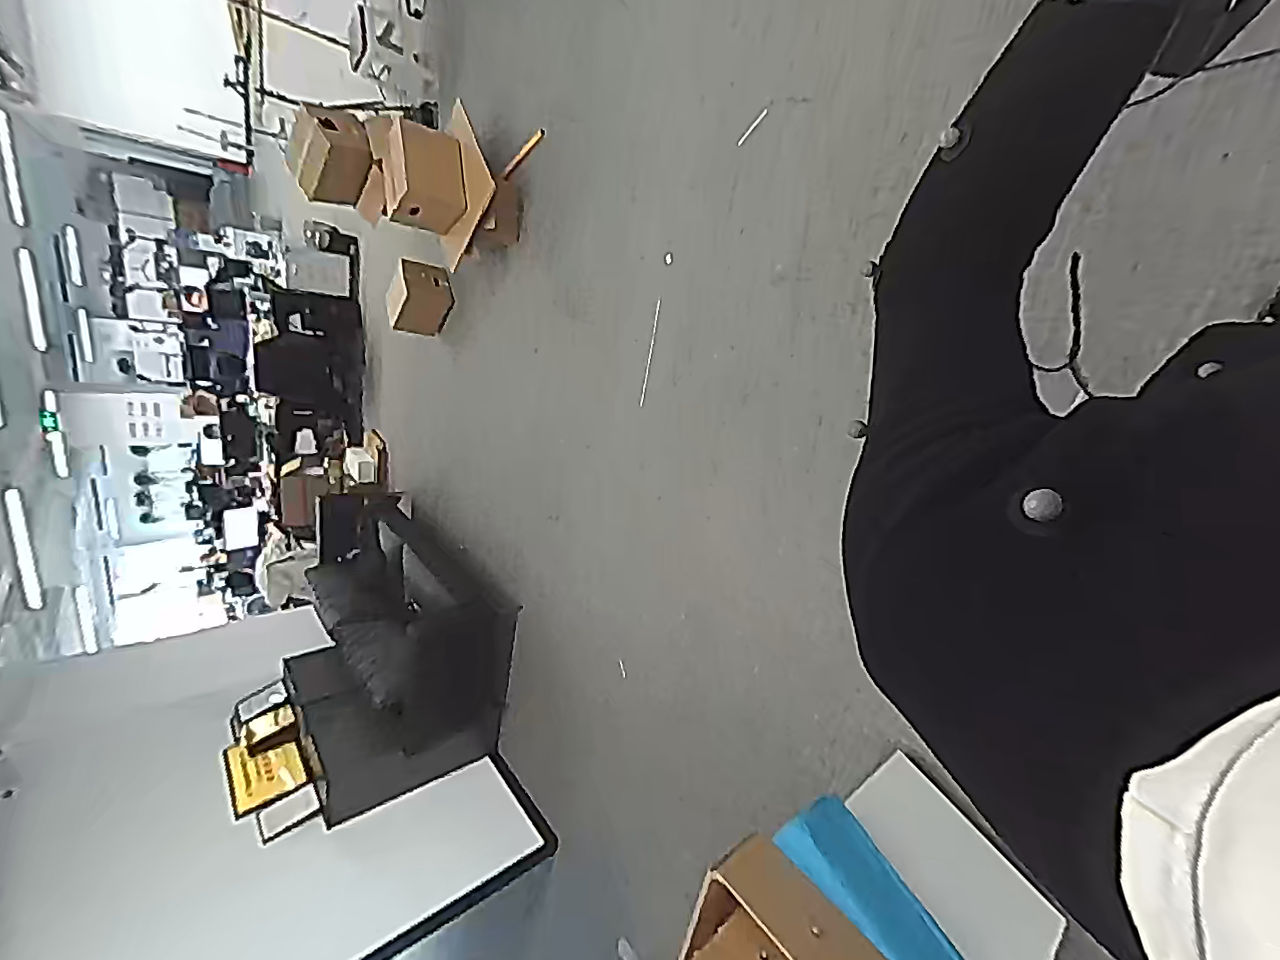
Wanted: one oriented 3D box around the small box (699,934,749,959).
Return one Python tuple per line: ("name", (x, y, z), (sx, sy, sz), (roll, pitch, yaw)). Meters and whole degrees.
("small box", (0.173, 1.126, 1.135), (0.179, 0.176, 0.168), (31, 119, 41))
